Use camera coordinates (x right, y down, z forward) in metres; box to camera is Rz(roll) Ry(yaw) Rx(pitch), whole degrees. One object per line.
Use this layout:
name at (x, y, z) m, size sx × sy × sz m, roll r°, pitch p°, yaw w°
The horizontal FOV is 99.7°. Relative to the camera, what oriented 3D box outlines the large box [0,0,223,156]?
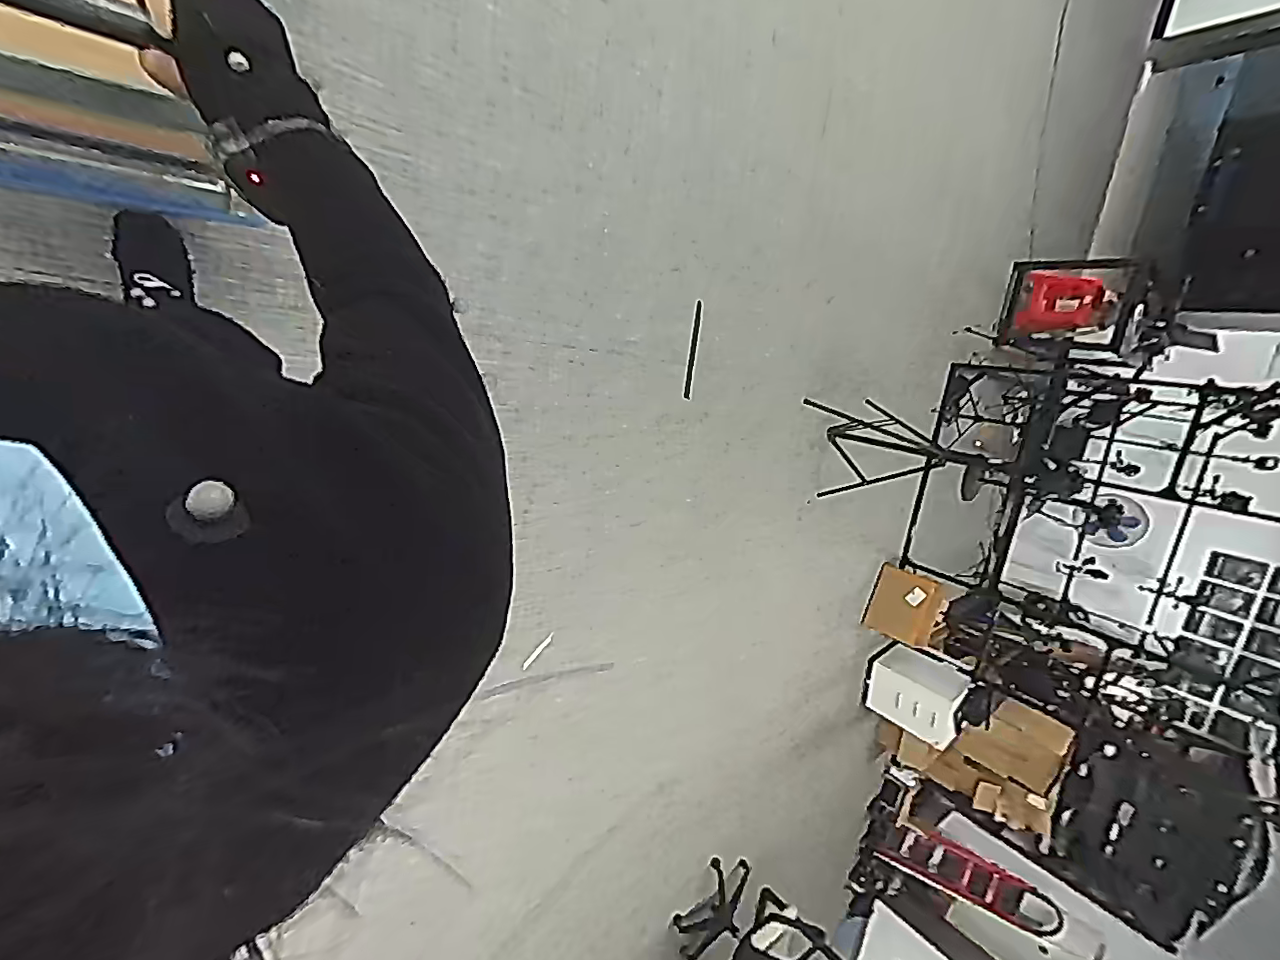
large box at (-0.796, -0.651, 0.667) m, size 0.408 × 0.320 × 0.320 m, roll -7°, pitch 109°, yaw -42°
